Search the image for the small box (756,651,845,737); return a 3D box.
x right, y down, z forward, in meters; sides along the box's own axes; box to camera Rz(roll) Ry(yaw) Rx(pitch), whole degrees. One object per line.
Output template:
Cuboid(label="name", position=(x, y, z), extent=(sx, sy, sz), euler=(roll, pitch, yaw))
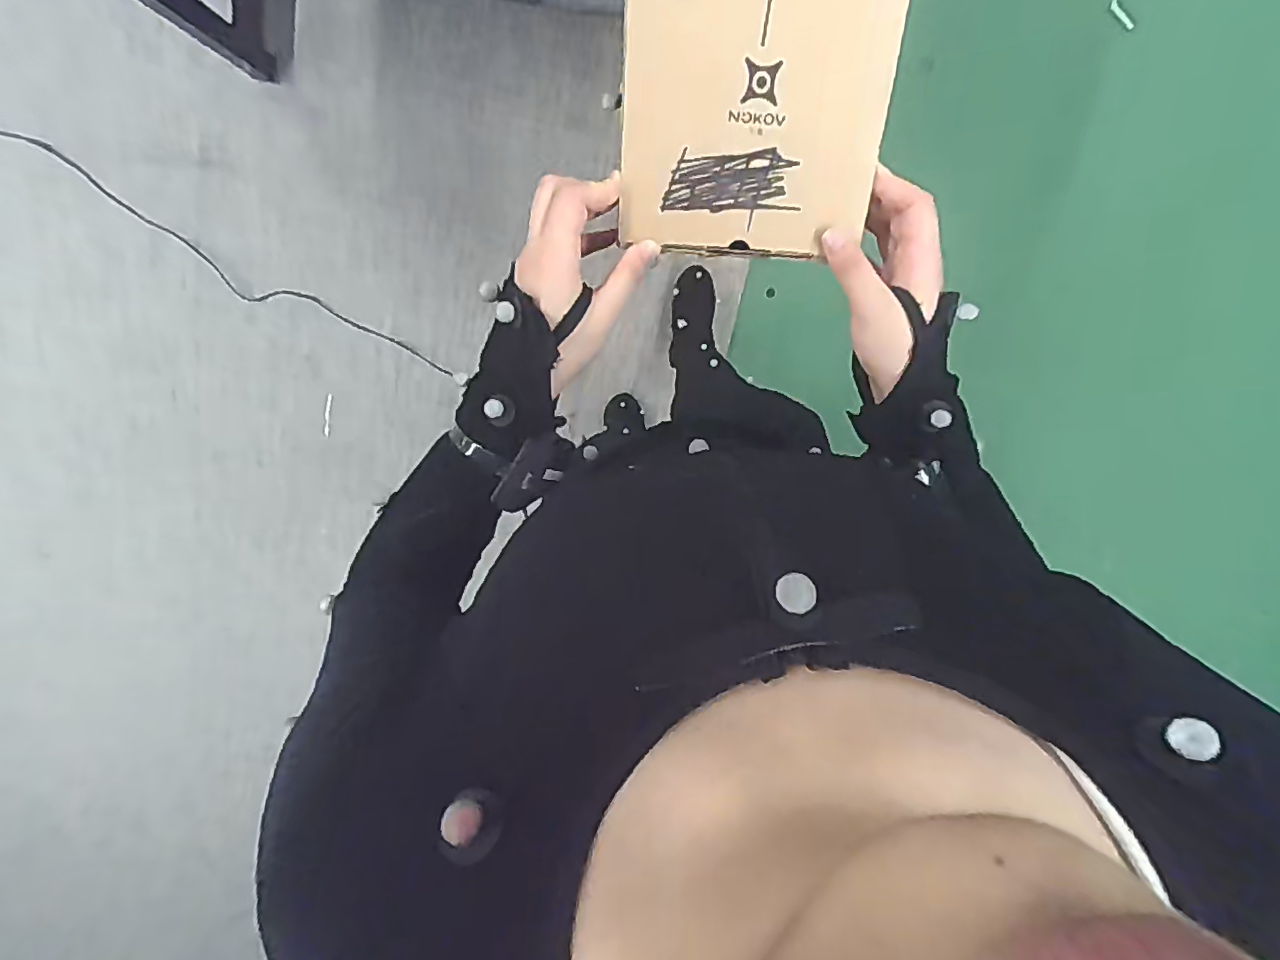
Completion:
Cuboid(label="small box", position=(0.457, 0.627, 1.577), extent=(0.179, 0.176, 0.168), euler=(19, 104, -6))

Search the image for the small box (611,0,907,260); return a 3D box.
Cuboid(label="small box", position=(0.066, -0.264, 0.402), extent=(0.168, 0.176, 0.179), euler=(3, 112, -4))
